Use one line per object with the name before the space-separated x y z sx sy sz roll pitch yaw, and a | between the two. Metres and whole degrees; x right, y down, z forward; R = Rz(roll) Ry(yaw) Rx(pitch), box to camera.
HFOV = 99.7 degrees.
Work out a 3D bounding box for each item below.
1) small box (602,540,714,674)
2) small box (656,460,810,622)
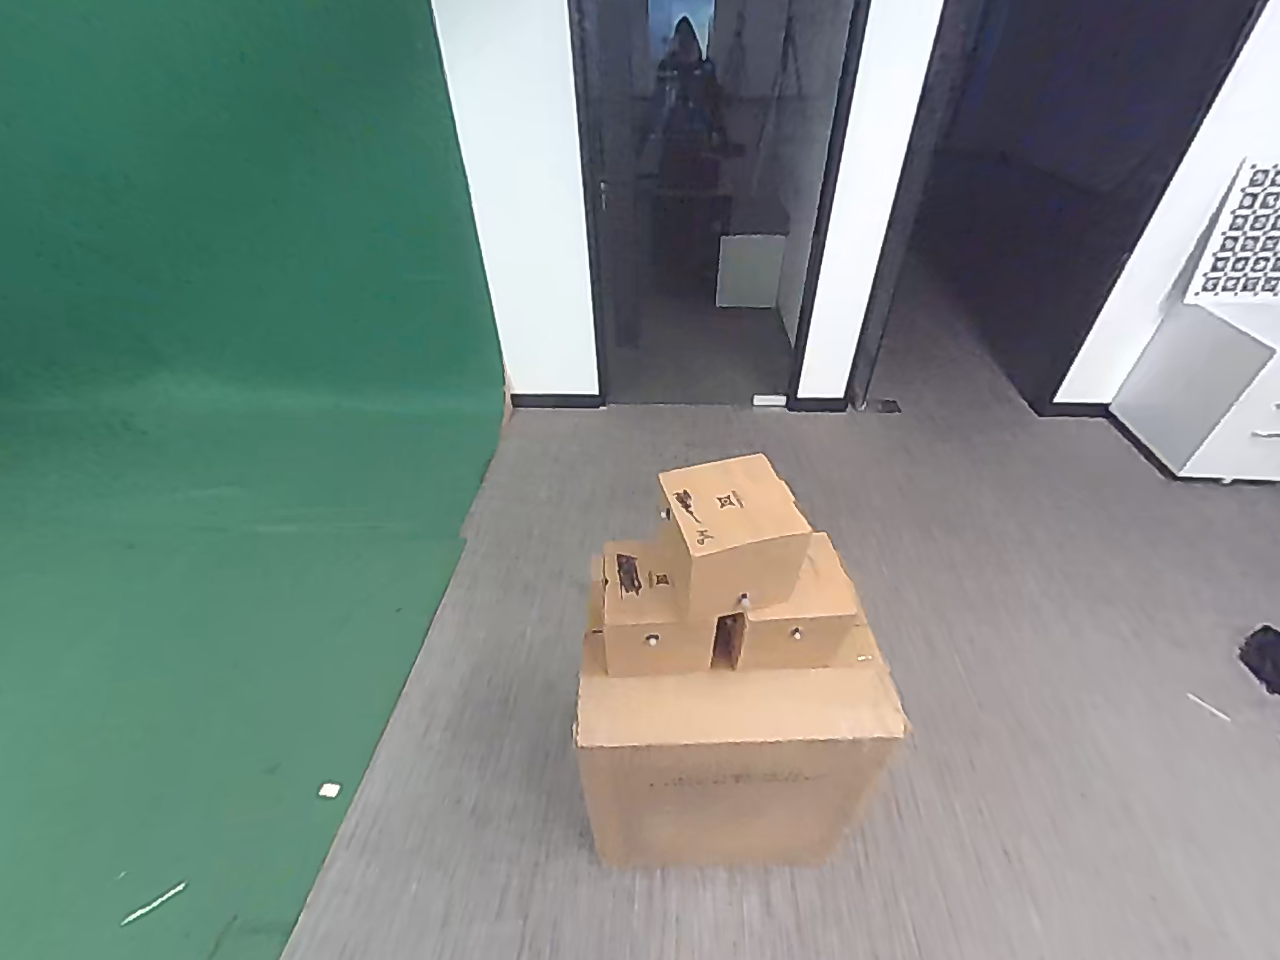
small box | 0.027 0.221 0.936 0.179 0.176 0.168 -1 44 -2
small box | 0.130 0.094 0.833 0.179 0.176 0.168 -9 44 -11
